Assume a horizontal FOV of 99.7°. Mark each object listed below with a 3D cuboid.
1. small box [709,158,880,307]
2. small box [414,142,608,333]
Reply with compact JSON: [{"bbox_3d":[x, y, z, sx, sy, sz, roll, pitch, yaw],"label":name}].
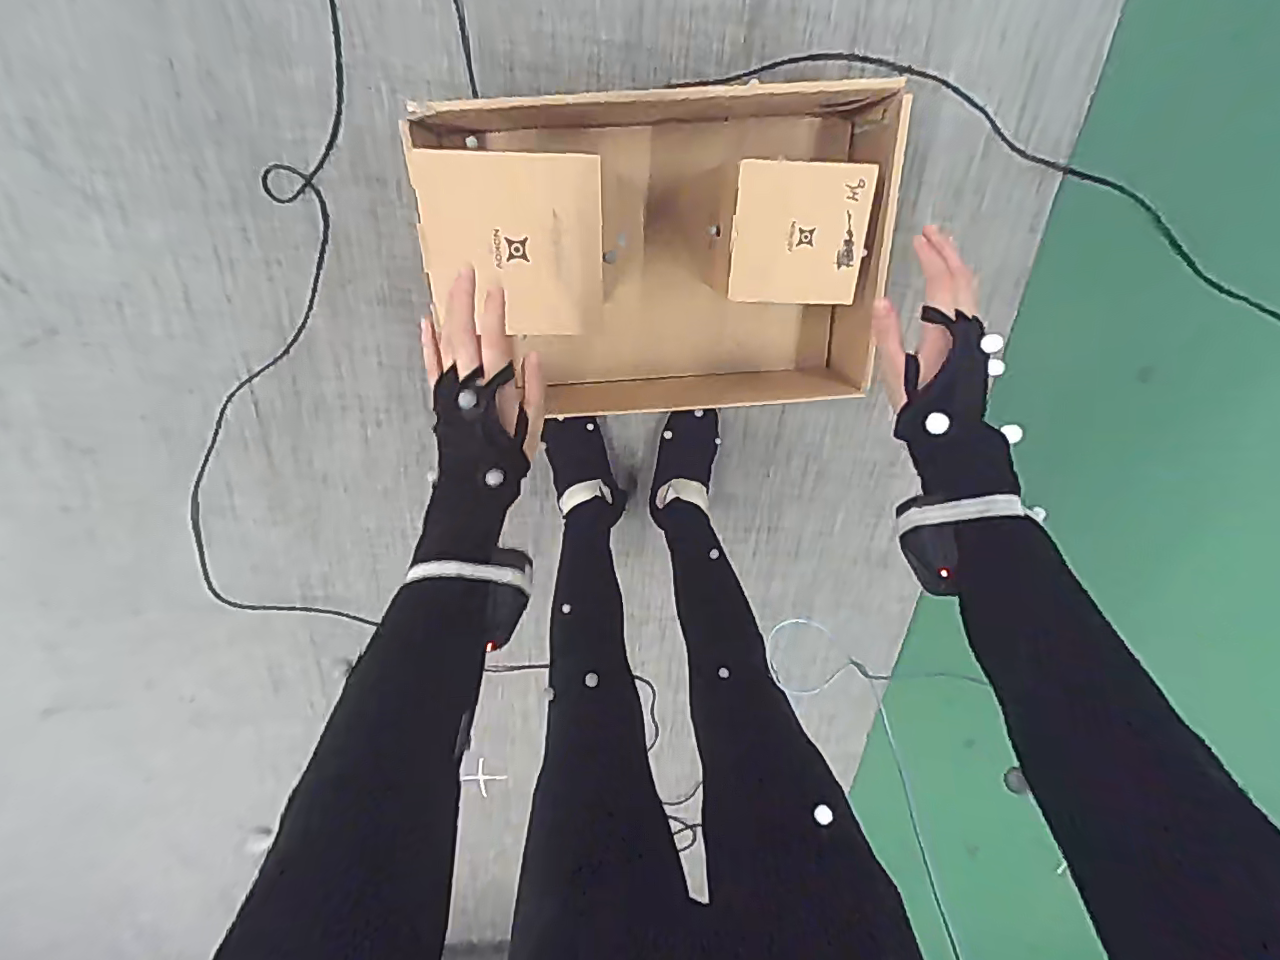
[{"bbox_3d":[0.199,-0.343,0.759,0.179,0.176,0.168,1,116,-4],"label":"small box"},{"bbox_3d":[-0.125,-0.263,0.595,0.179,0.176,0.168,0,117,-5],"label":"small box"}]
